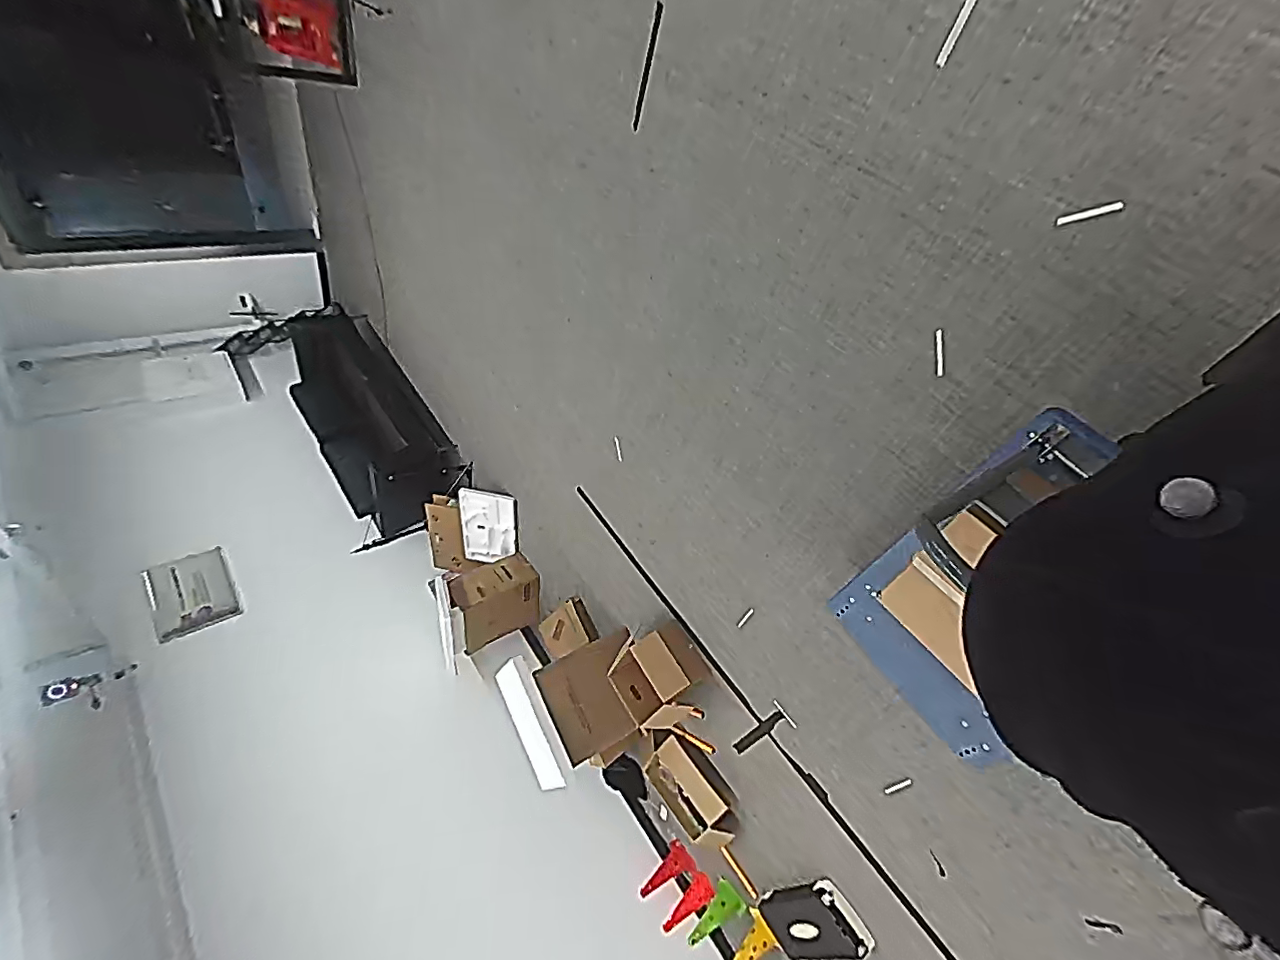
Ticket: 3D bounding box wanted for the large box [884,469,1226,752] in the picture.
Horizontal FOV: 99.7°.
[{"bbox_3d":[0.815,0.246,1.102,0.408,0.320,0.320,49,140,28],"label":"large box"}]
